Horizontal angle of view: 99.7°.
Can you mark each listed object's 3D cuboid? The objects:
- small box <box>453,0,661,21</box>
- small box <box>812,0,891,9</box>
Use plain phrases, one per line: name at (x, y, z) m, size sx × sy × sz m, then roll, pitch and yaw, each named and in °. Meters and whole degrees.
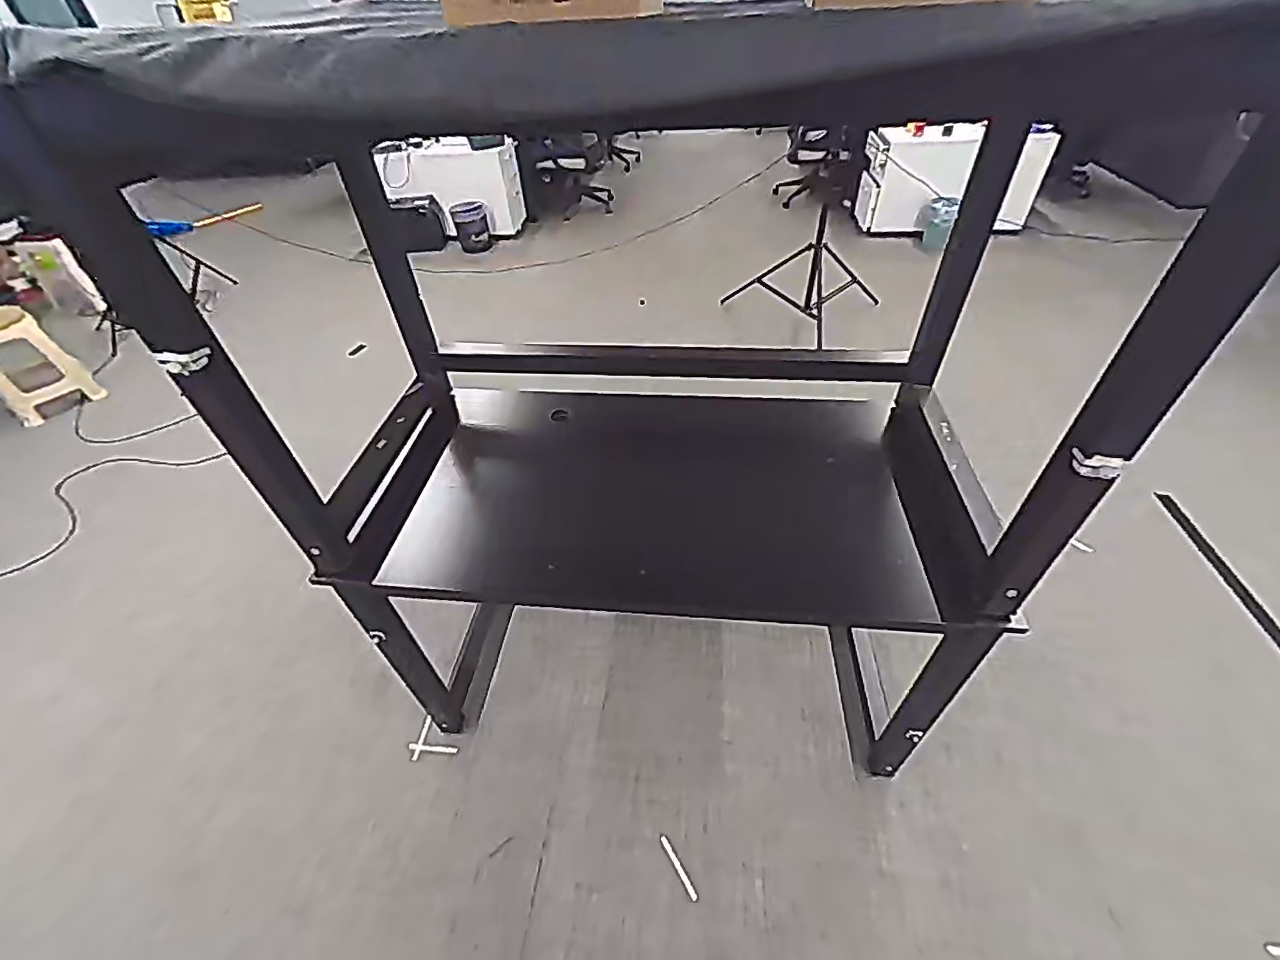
small box at (-0.070, -0.492, 0.446) m, size 0.168 × 0.176 × 0.179 m, roll 3°, pitch 42°, yaw 8°
small box at (0.227, -0.480, 0.415) m, size 0.168 × 0.176 × 0.179 m, roll 5°, pitch 42°, yaw 10°
